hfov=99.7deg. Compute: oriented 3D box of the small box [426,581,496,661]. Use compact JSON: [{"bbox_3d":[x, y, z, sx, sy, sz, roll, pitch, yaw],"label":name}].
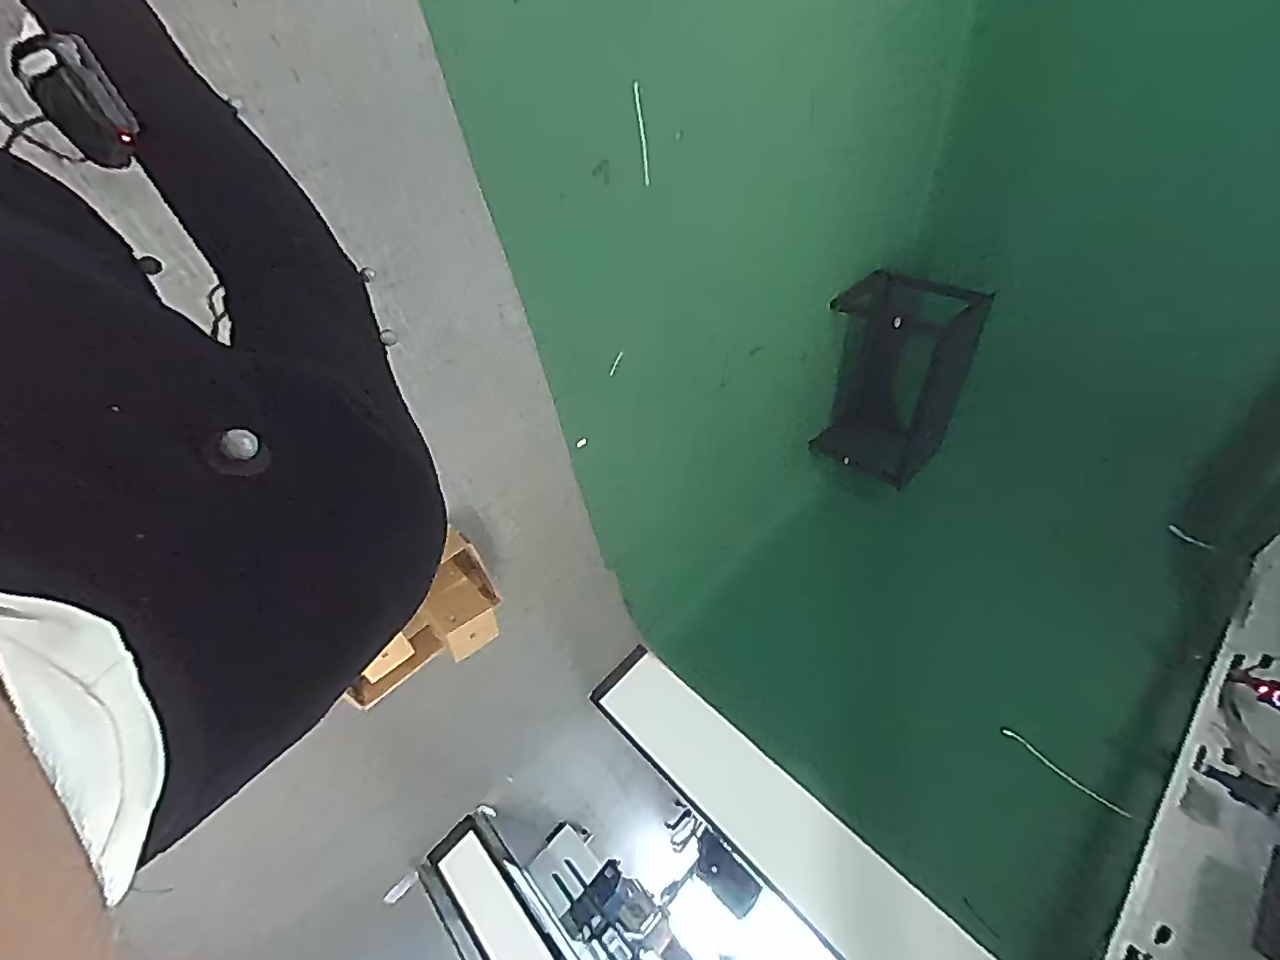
[{"bbox_3d":[-0.638,0.493,1.912,0.179,0.176,0.168,-30,138,-32],"label":"small box"}]
